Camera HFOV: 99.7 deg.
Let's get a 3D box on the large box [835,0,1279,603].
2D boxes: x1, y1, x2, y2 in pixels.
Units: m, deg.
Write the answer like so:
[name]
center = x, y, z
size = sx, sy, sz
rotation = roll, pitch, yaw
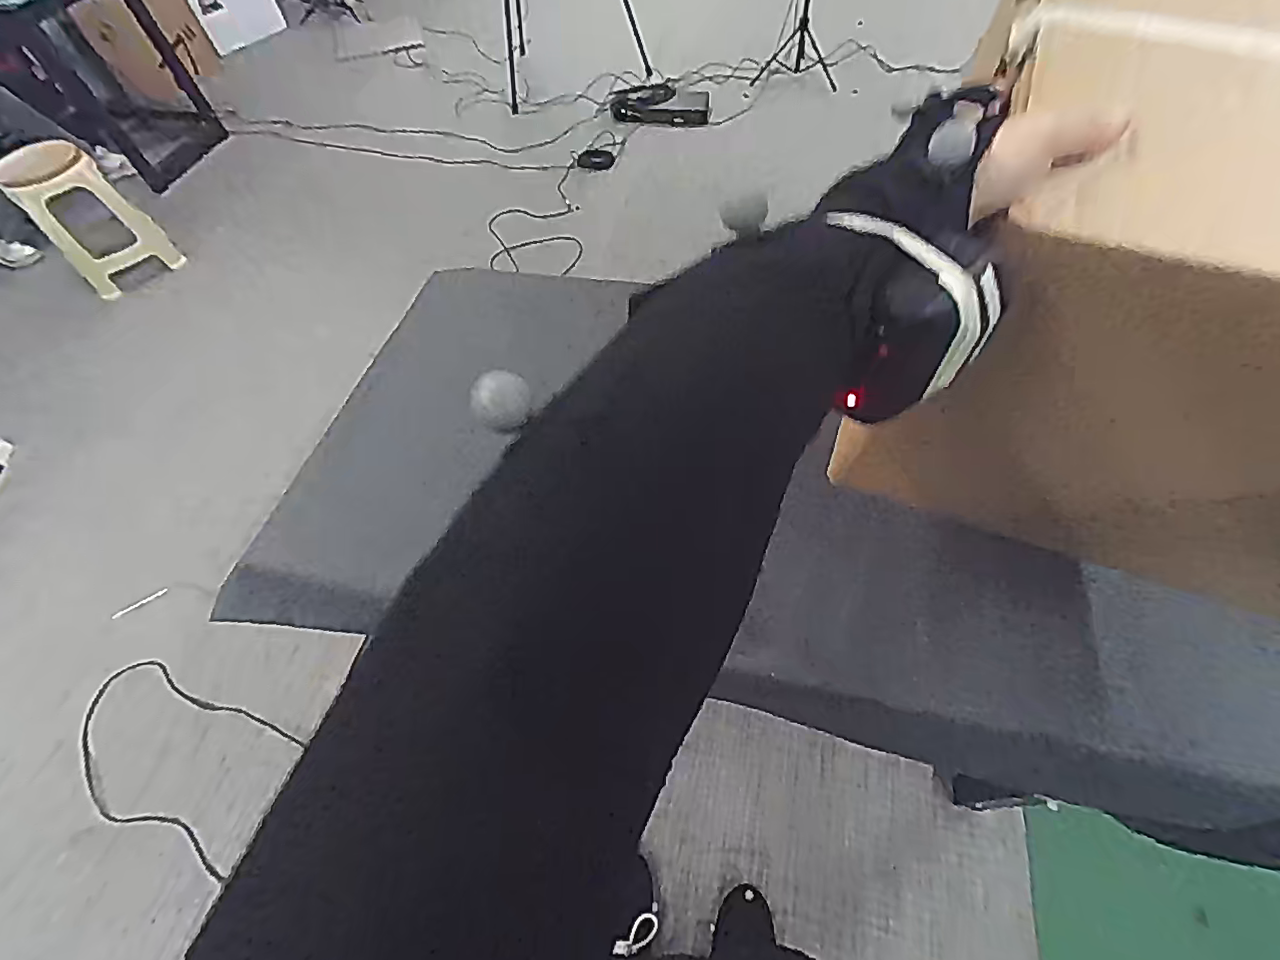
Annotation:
[large box]
center = 0.411, -0.137, 0.404
size = 0.408, 0.320, 0.320
rotation = 18, 70, 10
